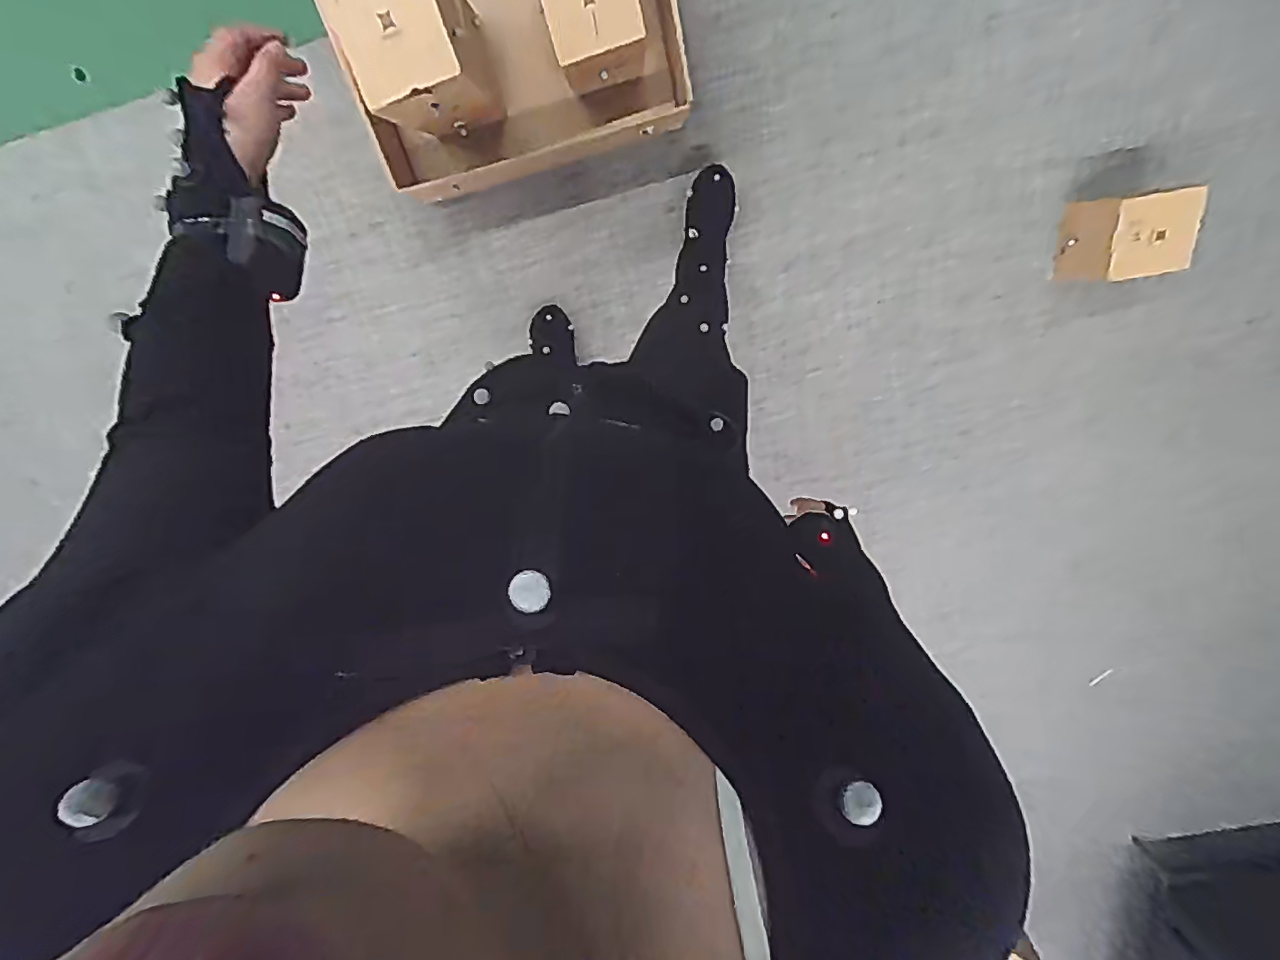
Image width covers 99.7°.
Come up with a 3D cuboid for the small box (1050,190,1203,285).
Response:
[{"bbox_3d":[1.082,-0.547,1.220,0.179,0.176,0.168,-9,114,3],"label":"small box"}]

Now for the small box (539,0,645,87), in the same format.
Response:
[{"bbox_3d":[-0.093,-0.862,0.993,0.168,0.176,0.179,-14,117,7],"label":"small box"}]

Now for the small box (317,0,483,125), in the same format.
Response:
[{"bbox_3d":[-0.378,-0.705,0.882,0.168,0.176,0.179,-16,116,7],"label":"small box"}]
